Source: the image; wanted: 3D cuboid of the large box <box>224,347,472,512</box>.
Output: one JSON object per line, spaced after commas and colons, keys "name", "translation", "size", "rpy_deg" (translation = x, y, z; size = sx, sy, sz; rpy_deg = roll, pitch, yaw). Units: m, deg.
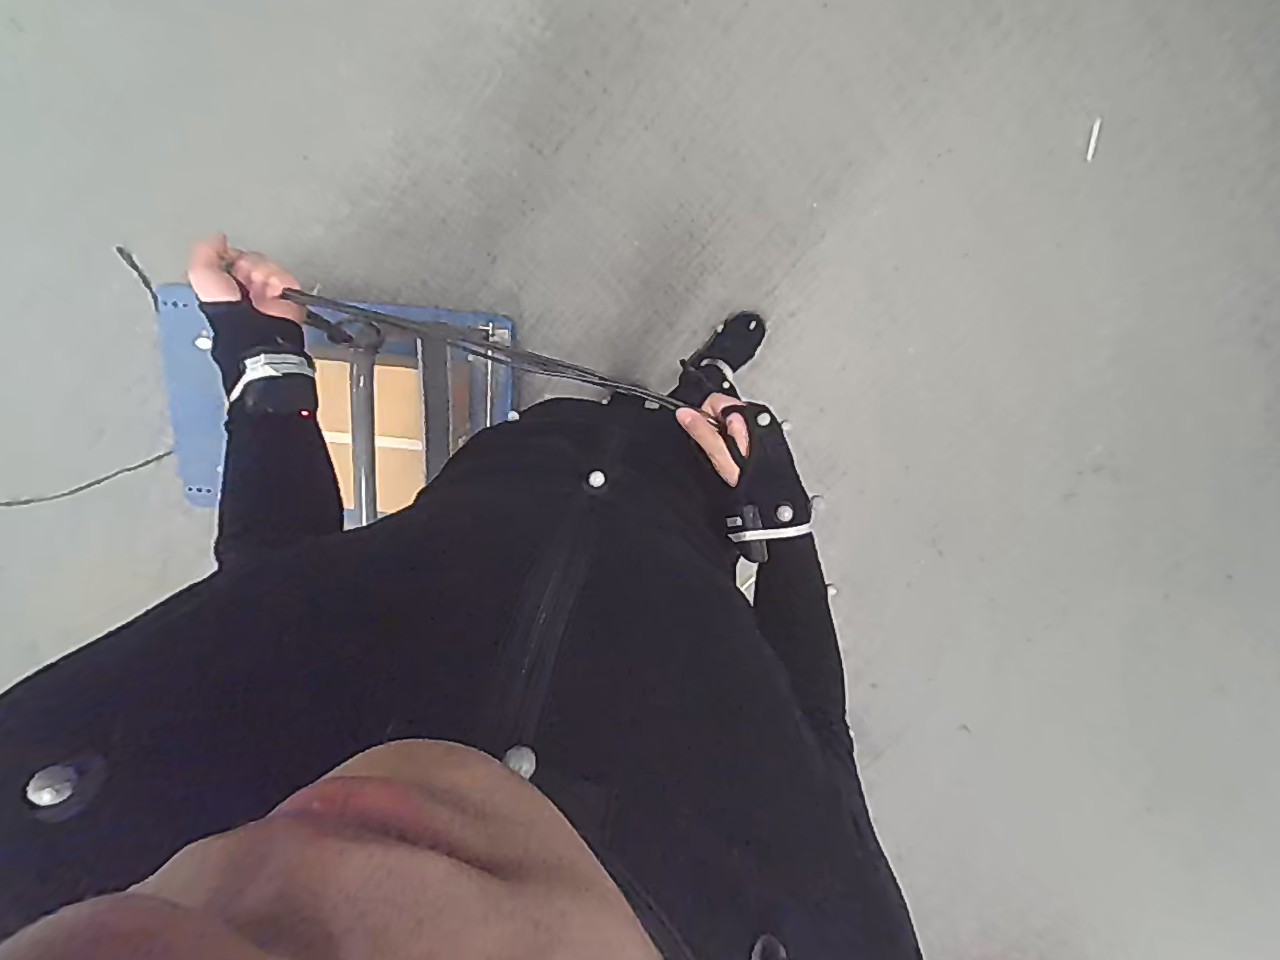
{"name": "large box", "translation": [-0.632, -0.132, 1.249], "size": [0.408, 0.320, 0.320], "rpy_deg": [5, 104, -1]}
